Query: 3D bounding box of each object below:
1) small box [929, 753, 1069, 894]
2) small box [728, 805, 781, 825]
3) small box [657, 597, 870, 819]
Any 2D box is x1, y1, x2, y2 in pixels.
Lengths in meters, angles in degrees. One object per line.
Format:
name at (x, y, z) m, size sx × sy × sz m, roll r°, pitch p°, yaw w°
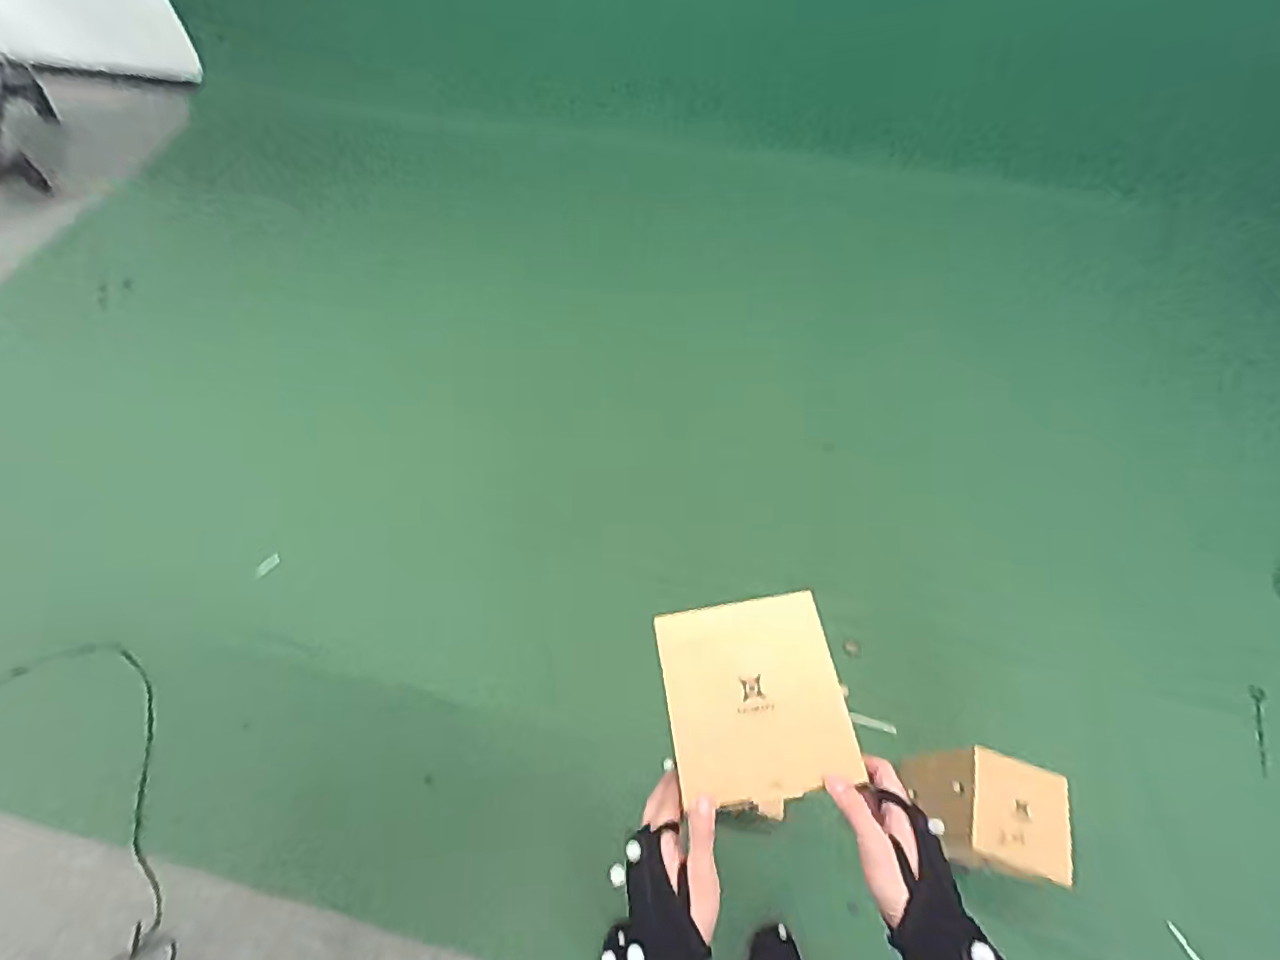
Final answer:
small box at (0.682, 0.652, 1.041) m, size 0.168 × 0.176 × 0.179 m, roll 17°, pitch 61°, yaw 10°
small box at (0.227, 0.664, 1.228) m, size 0.168 × 0.176 × 0.179 m, roll 9°, pitch 59°, yaw 6°
small box at (0.112, 0.243, 0.574) m, size 0.168 × 0.176 × 0.179 m, roll -10°, pitch 61°, yaw -1°
